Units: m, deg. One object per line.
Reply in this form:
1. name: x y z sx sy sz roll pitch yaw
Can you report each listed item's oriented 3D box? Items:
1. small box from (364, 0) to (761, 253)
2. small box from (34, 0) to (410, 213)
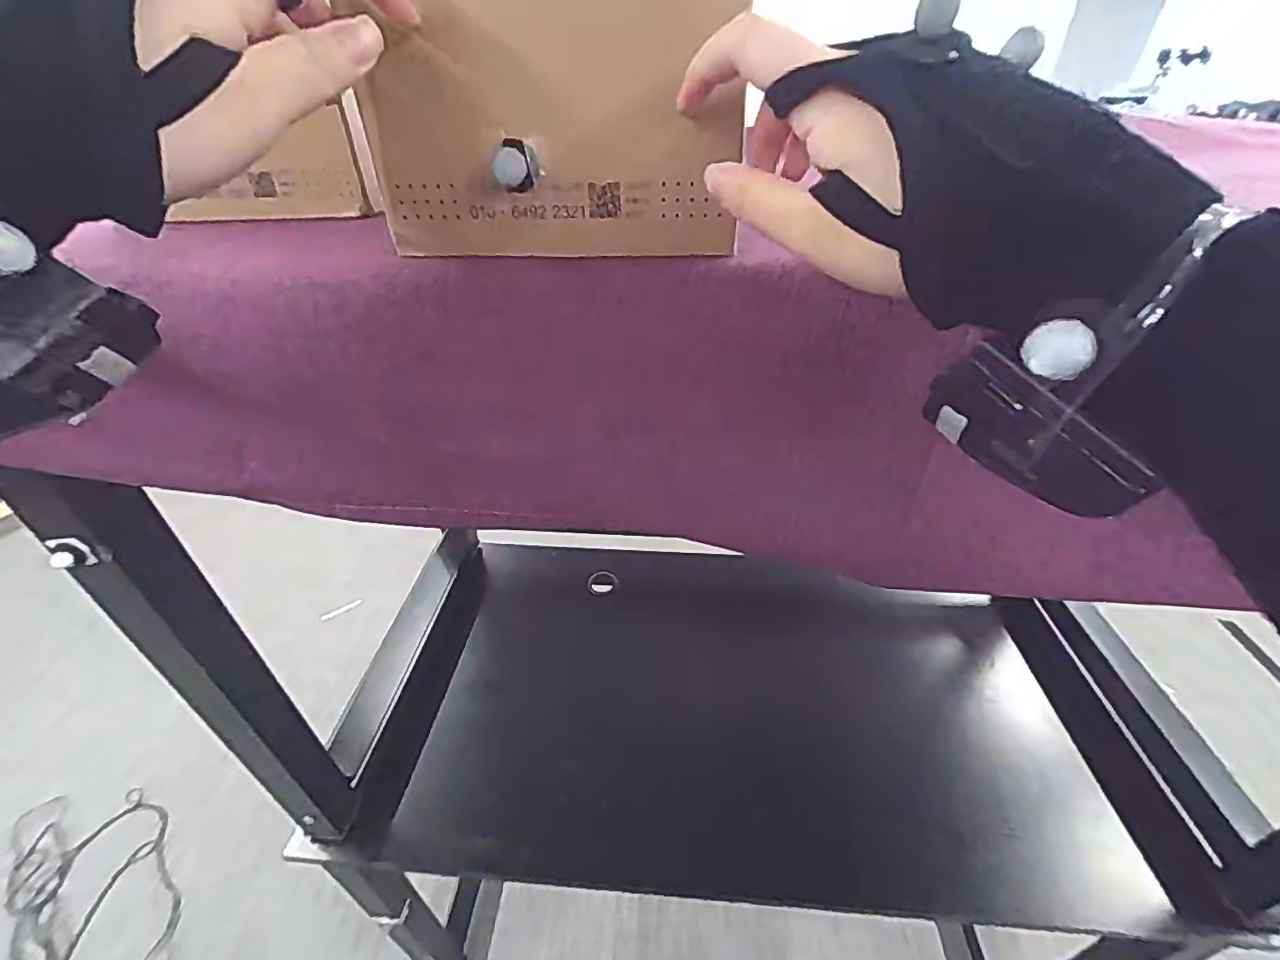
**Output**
1. small box: -0.030 -0.227 0.281 0.168 0.176 0.179 1 36 3
2. small box: -0.255 -0.288 0.368 0.168 0.176 0.179 -3 35 -1
